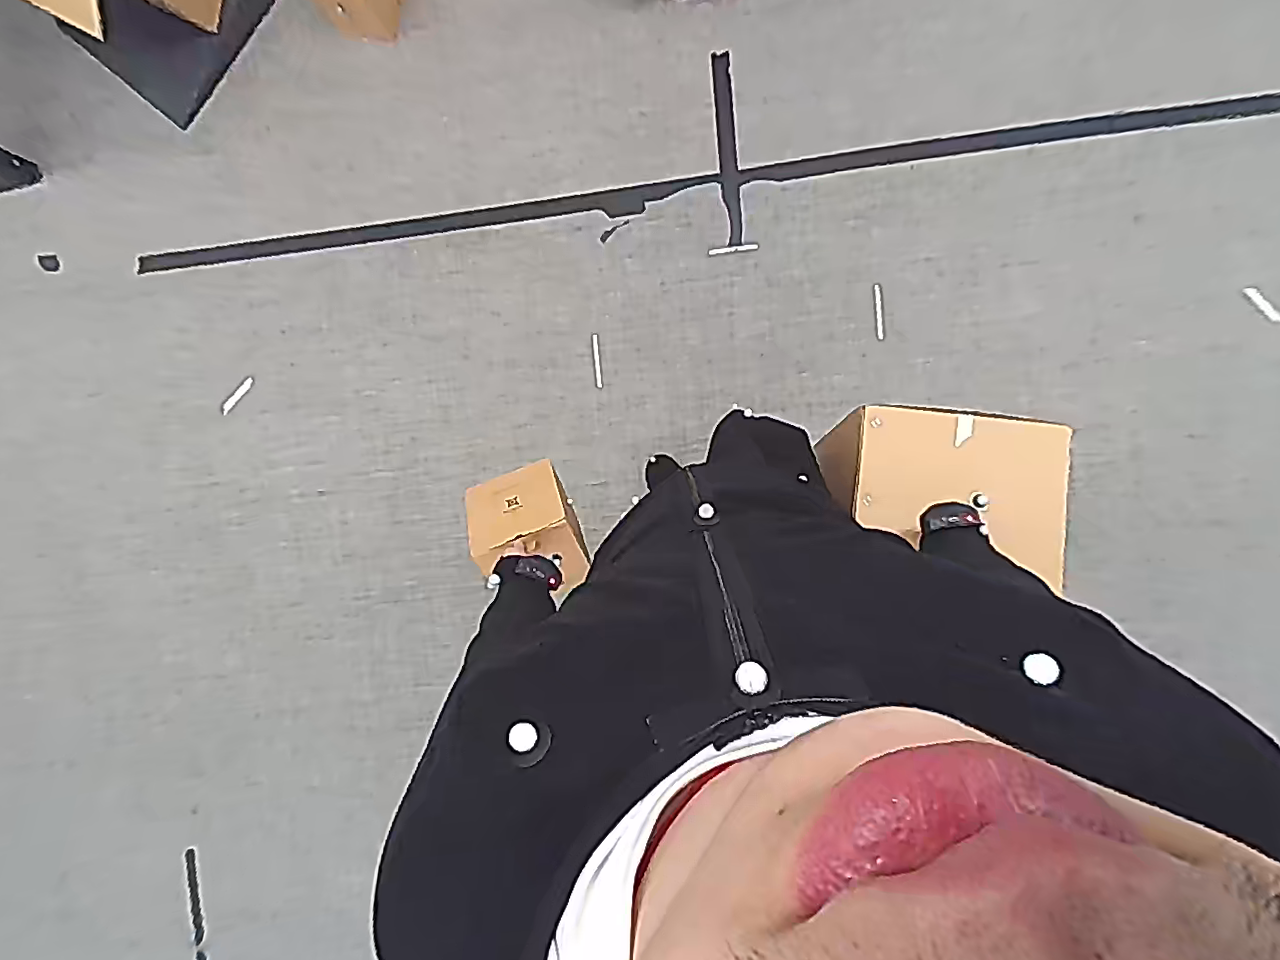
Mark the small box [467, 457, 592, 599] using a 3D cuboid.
[{"bbox_3d":[-0.199,0.095,0.990,0.168,0.179,0.176,-21,133,-4],"label":"small box"}]
